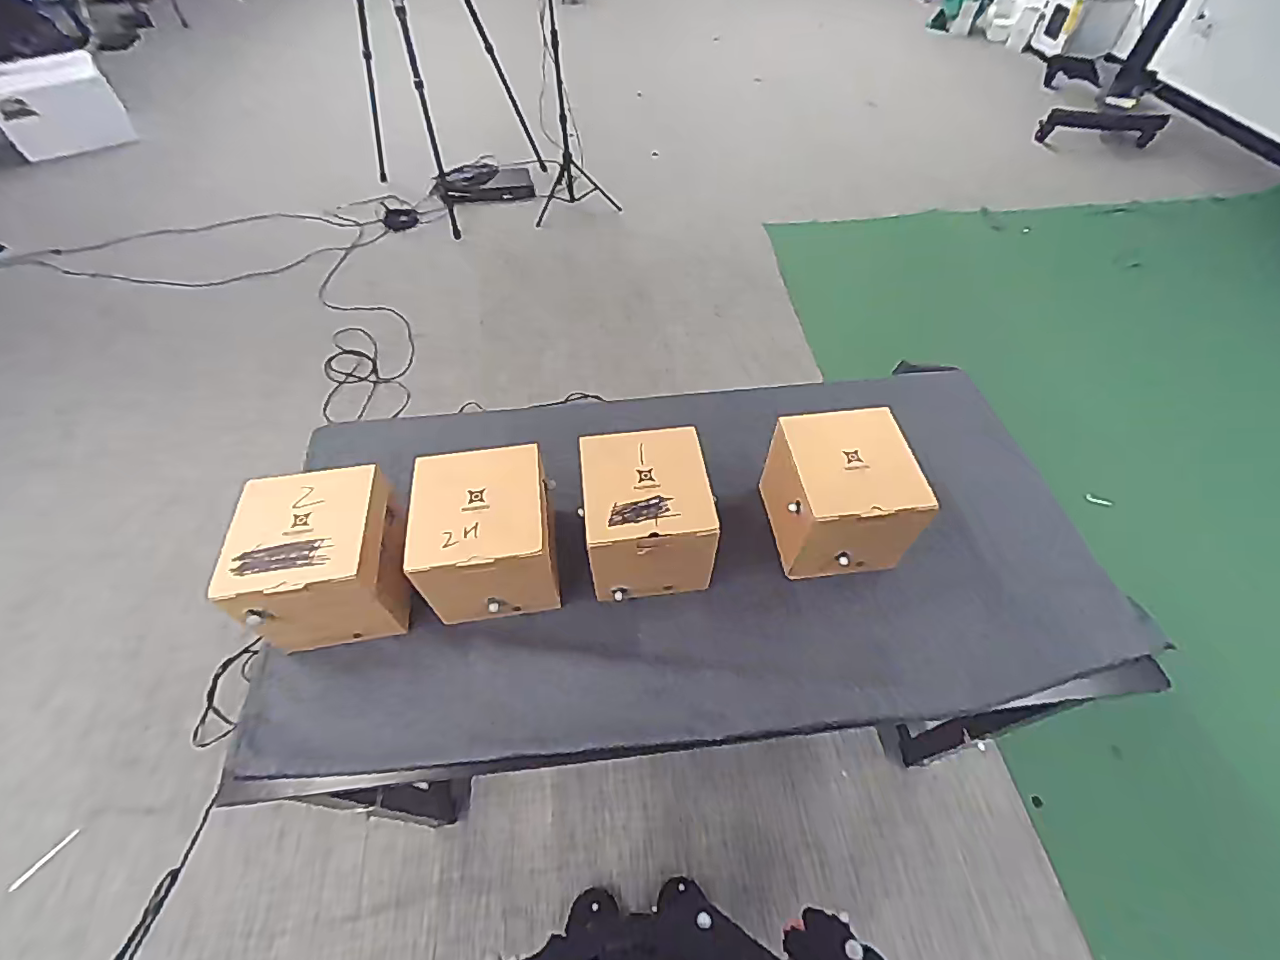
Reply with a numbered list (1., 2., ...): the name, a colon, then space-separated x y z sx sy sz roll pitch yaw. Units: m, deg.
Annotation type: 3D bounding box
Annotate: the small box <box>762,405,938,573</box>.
1. small box: 0.288 0.015 0.792 0.168 0.176 0.179 -6 55 -4
